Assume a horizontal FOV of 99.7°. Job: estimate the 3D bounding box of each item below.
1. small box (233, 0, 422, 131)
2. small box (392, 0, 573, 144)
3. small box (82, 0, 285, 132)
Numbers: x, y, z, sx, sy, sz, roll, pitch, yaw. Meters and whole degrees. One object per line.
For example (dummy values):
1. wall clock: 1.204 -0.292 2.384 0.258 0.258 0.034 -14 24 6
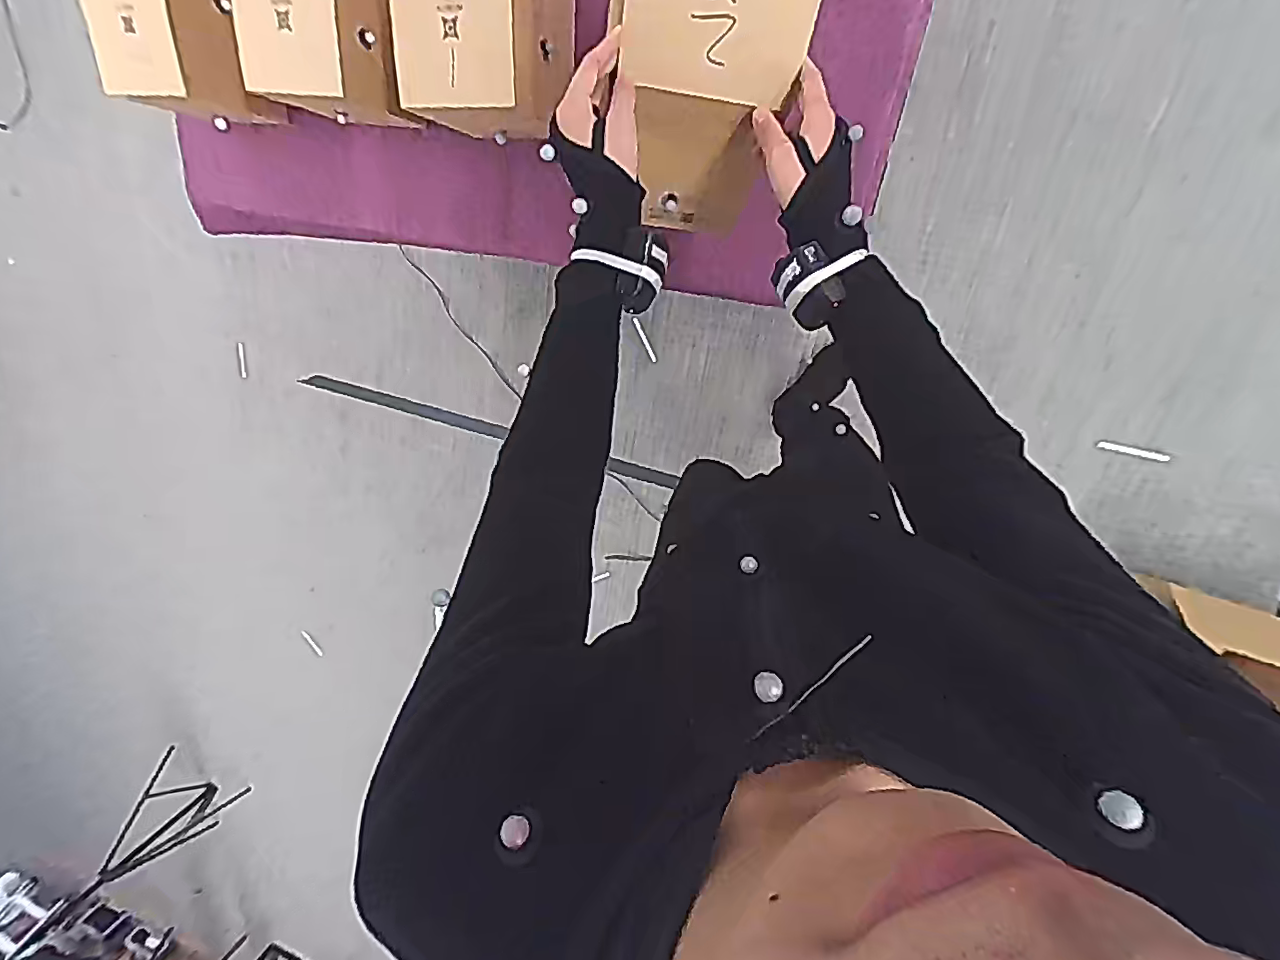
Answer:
1. small box: -0.425 -0.611 0.759 0.168 0.176 0.179 13 113 13
2. small box: -0.195 -0.558 0.704 0.168 0.176 0.179 10 113 15
3. small box: -0.687 -0.659 0.827 0.168 0.176 0.179 11 112 14
